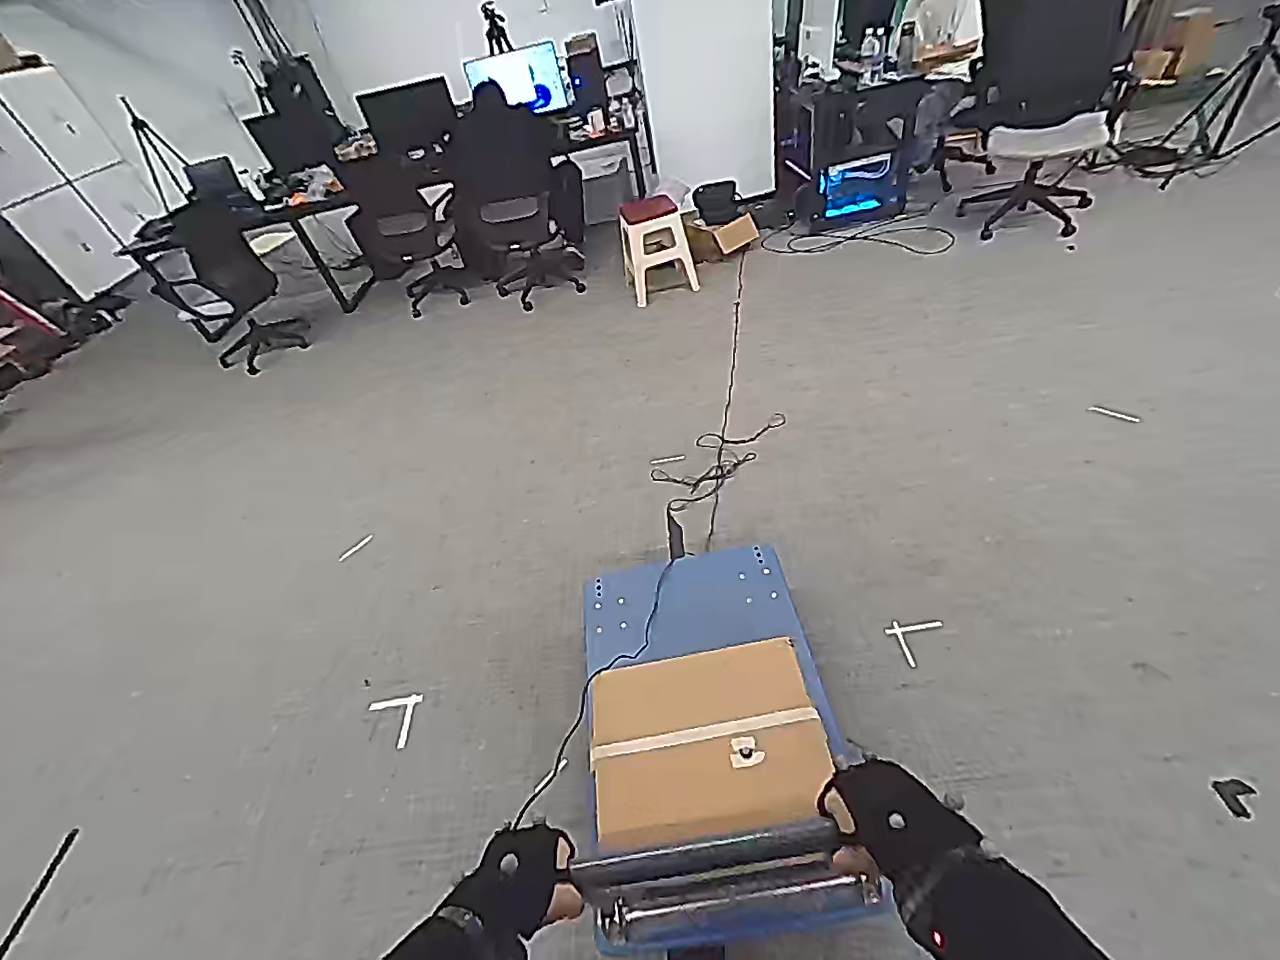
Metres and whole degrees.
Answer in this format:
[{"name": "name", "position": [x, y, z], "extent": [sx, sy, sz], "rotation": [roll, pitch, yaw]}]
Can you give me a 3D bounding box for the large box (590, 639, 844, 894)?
[{"name": "large box", "position": [0.137, 0.563, 1.060], "extent": [0.408, 0.320, 0.320], "rotation": [-12, 44, 3]}]
